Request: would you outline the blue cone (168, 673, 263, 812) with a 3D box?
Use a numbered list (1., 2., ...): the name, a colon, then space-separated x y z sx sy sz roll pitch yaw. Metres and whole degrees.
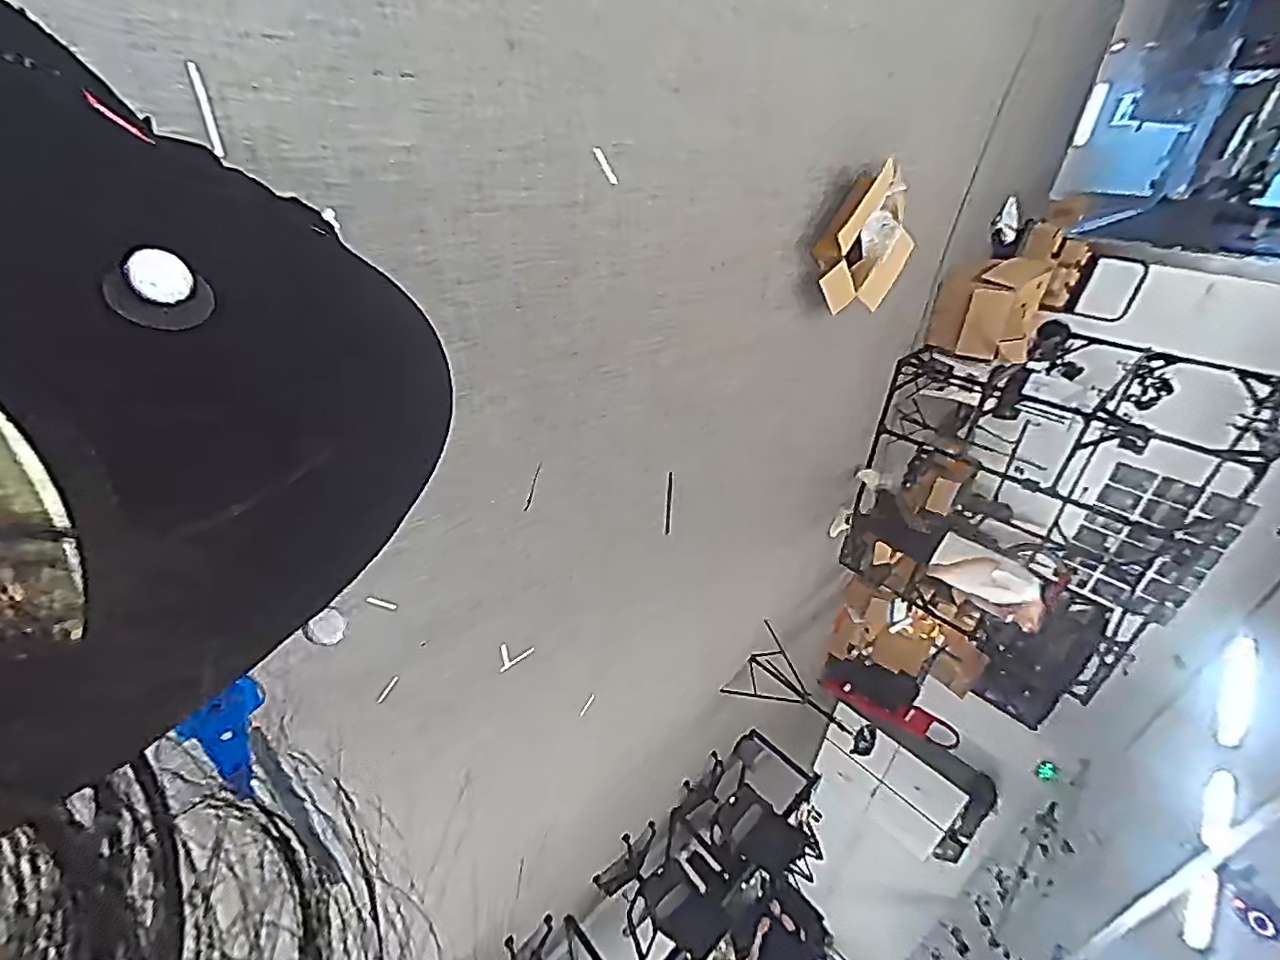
1. blue cone: -1.076 0.718 1.427 0.193 0.380 0.192 -23 131 -38
